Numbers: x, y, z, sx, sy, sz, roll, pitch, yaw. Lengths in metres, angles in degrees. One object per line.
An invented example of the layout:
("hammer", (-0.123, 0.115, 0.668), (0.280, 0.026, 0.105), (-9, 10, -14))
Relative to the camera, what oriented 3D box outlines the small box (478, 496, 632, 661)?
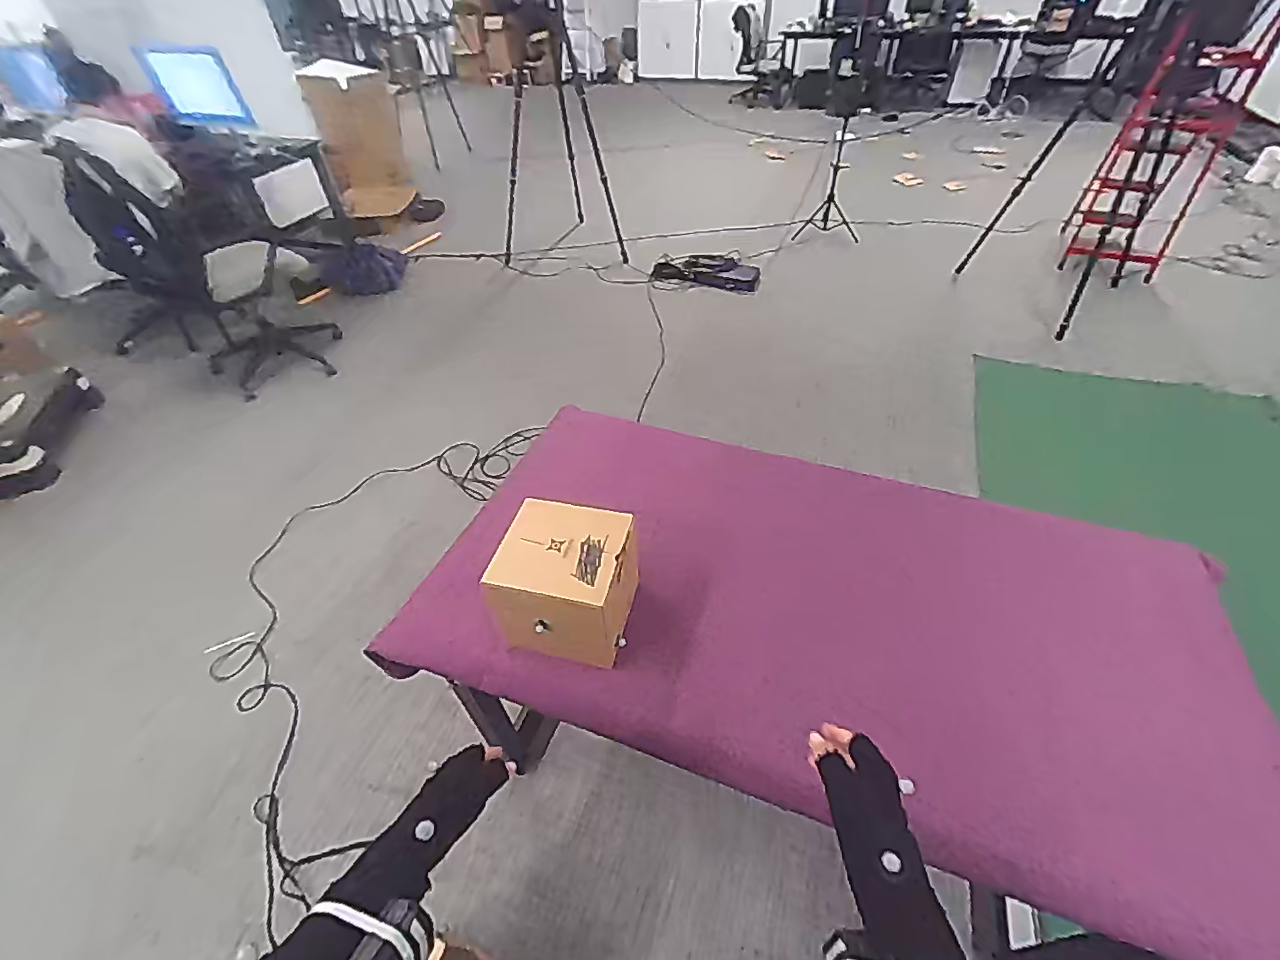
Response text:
("small box", (-0.114, 0.152, 0.821), (0.179, 0.176, 0.168), (9, 45, 11))
